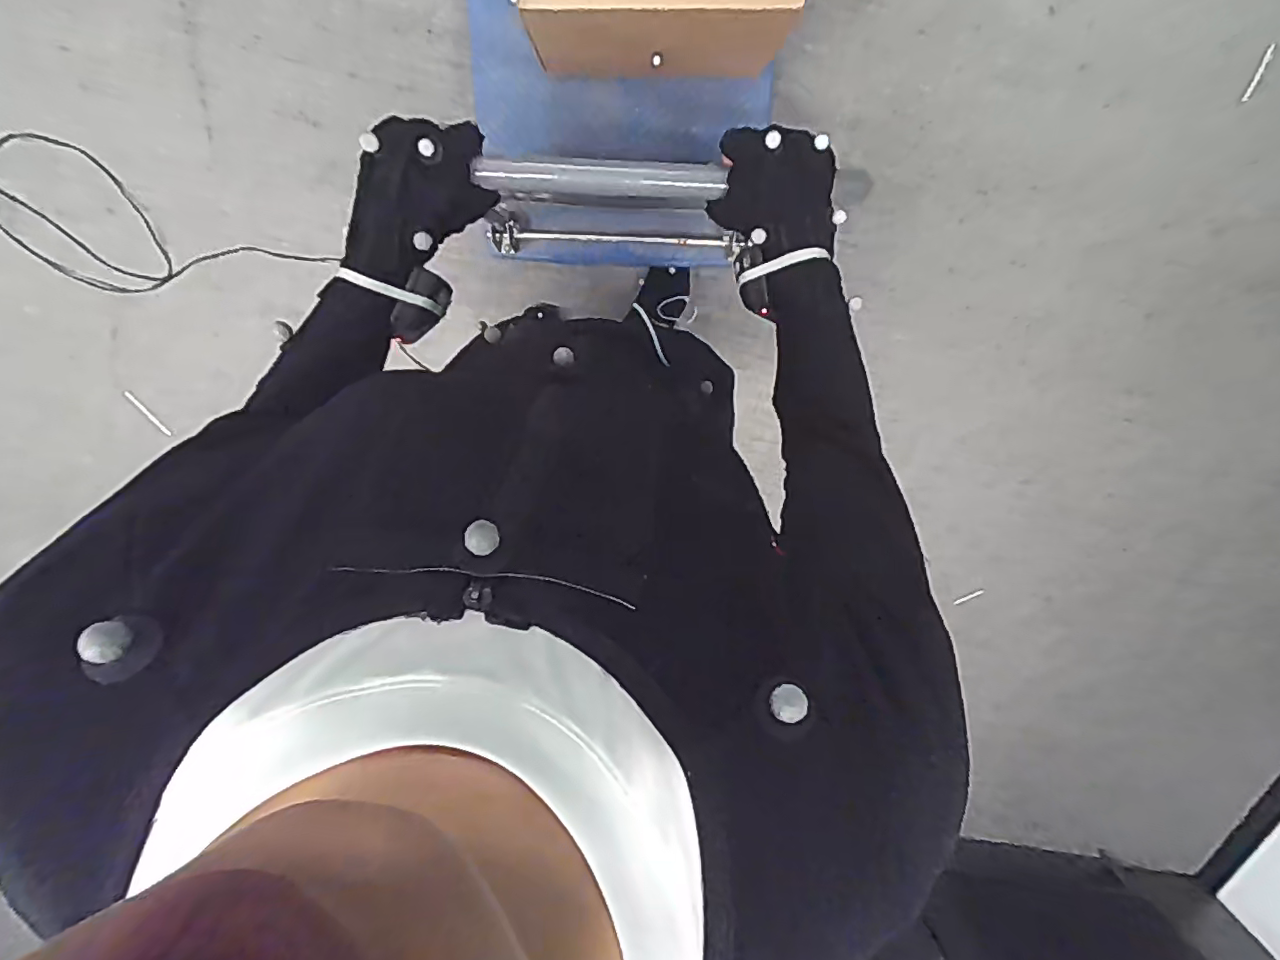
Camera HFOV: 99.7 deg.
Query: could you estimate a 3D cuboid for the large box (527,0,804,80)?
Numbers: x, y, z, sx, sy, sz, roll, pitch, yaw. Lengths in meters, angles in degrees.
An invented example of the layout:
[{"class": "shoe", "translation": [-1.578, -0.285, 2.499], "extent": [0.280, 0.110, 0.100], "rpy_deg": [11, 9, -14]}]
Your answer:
[{"class": "large box", "translation": [0.033, -0.867, 0.856], "extent": [0.408, 0.320, 0.320], "rpy_deg": [-1, 111, 1]}]
